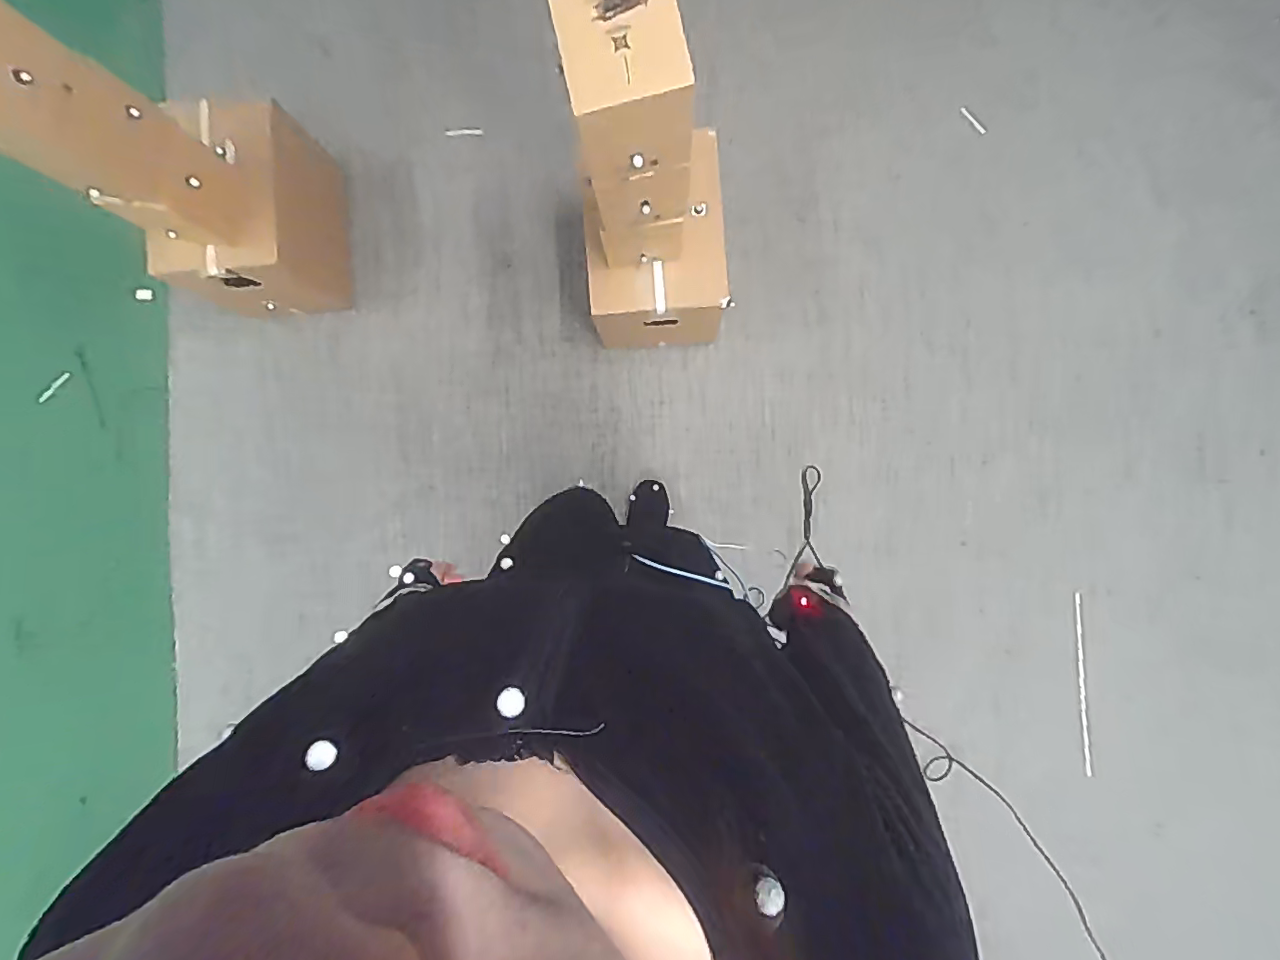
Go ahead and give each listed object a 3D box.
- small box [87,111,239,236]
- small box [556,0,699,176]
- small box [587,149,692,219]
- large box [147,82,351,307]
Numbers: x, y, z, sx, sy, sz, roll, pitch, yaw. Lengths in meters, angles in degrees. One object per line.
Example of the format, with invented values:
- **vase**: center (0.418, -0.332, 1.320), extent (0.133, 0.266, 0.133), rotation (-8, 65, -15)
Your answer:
- **small box**: center (-0.995, -0.648, 1.143), extent (0.168, 0.176, 0.179), rotation (8, 91, 3)
- **small box**: center (-0.016, -0.583, 0.779), extent (0.168, 0.176, 0.179), rotation (-12, 90, 4)
- **small box**: center (-0.006, -0.581, 0.944), extent (0.168, 0.176, 0.179), rotation (-11, 90, 3)
- **large box**: center (-0.982, -0.699, 1.385), extent (0.320, 0.320, 0.408), rotation (-3, 89, 2)
